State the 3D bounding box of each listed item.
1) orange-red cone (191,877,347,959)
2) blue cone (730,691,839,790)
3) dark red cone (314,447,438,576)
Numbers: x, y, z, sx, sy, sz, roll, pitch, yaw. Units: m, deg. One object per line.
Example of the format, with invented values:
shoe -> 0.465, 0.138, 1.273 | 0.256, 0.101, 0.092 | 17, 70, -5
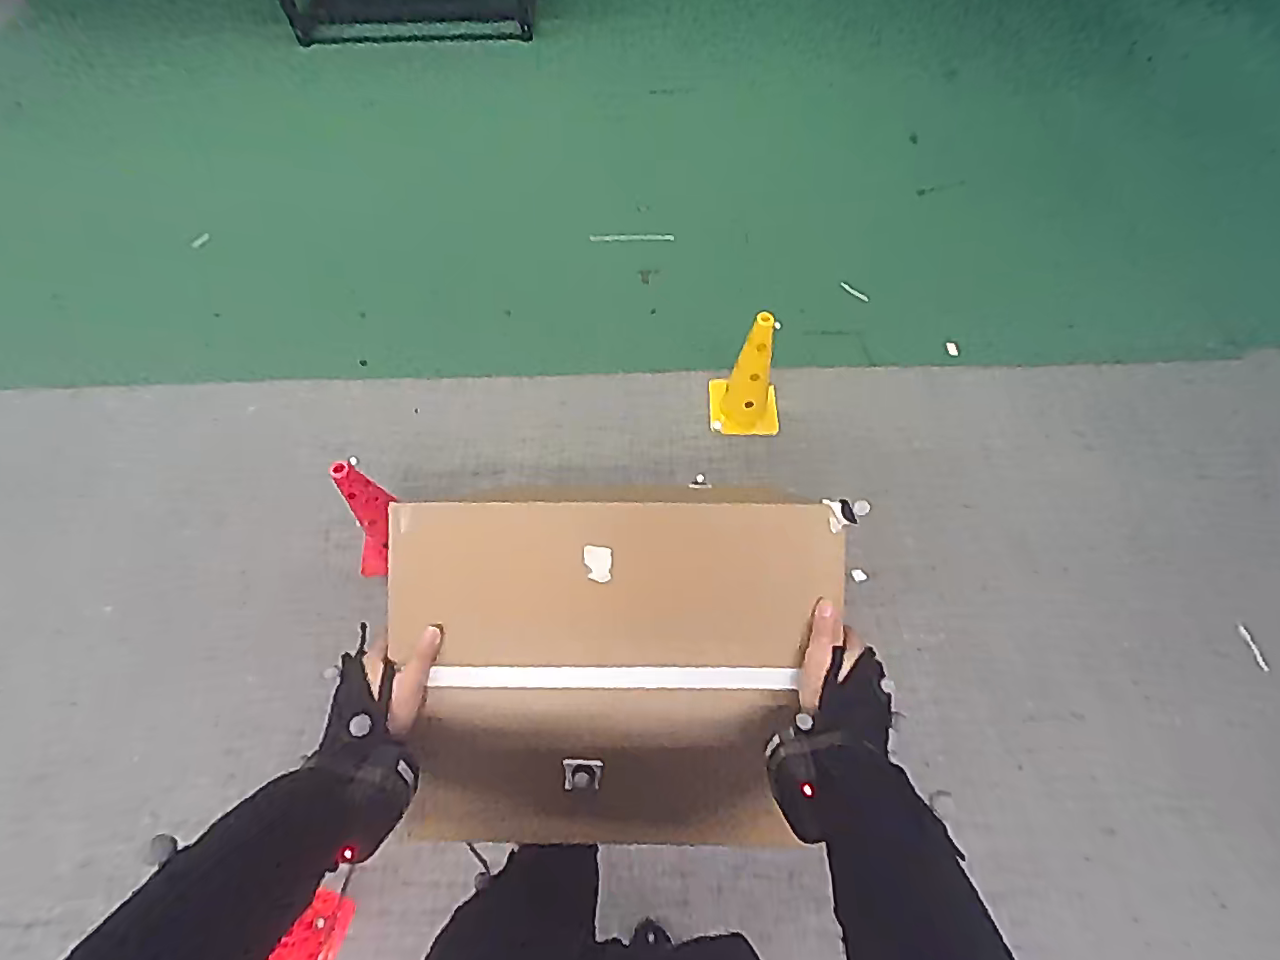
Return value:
orange-red cone -> -0.672, 0.785, 0.848 | 0.199, 0.360, 0.198 | 15, 60, 12
blue cone -> 0.293, 0.477, 1.025 | 0.192, 0.380, 0.193 | -1, 60, 0
dark red cone -> -0.629, 0.055, 1.253 | 0.202, 0.394, 0.201 | -8, 57, -3
